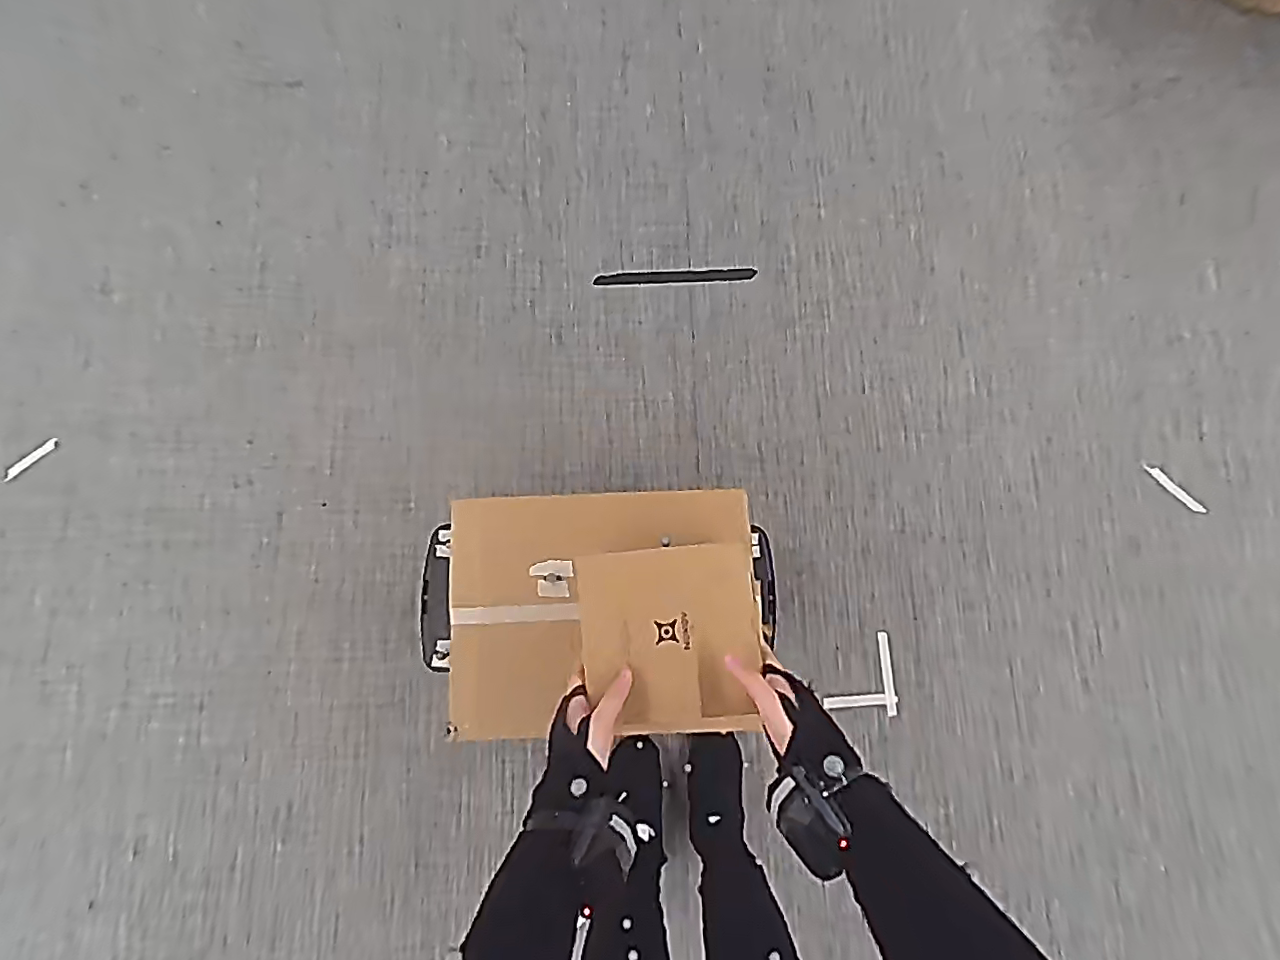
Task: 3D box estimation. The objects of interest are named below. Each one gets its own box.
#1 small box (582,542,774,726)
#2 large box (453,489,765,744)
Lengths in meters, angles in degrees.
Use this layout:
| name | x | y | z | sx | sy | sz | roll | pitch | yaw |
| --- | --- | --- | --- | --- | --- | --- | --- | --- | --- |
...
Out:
| name | x | y | z | sx | sy | sz | roll | pitch | yaw |
| --- | --- | --- | --- | --- | --- | --- | --- | --- | --- |
| small box | 0.036 | 0.159 | 0.597 | 0.179 | 0.176 | 0.168 | -5 | 79 | 2 |
| large box | -0.042 | 0.197 | 0.854 | 0.408 | 0.320 | 0.320 | -2 | 80 | 1 |
